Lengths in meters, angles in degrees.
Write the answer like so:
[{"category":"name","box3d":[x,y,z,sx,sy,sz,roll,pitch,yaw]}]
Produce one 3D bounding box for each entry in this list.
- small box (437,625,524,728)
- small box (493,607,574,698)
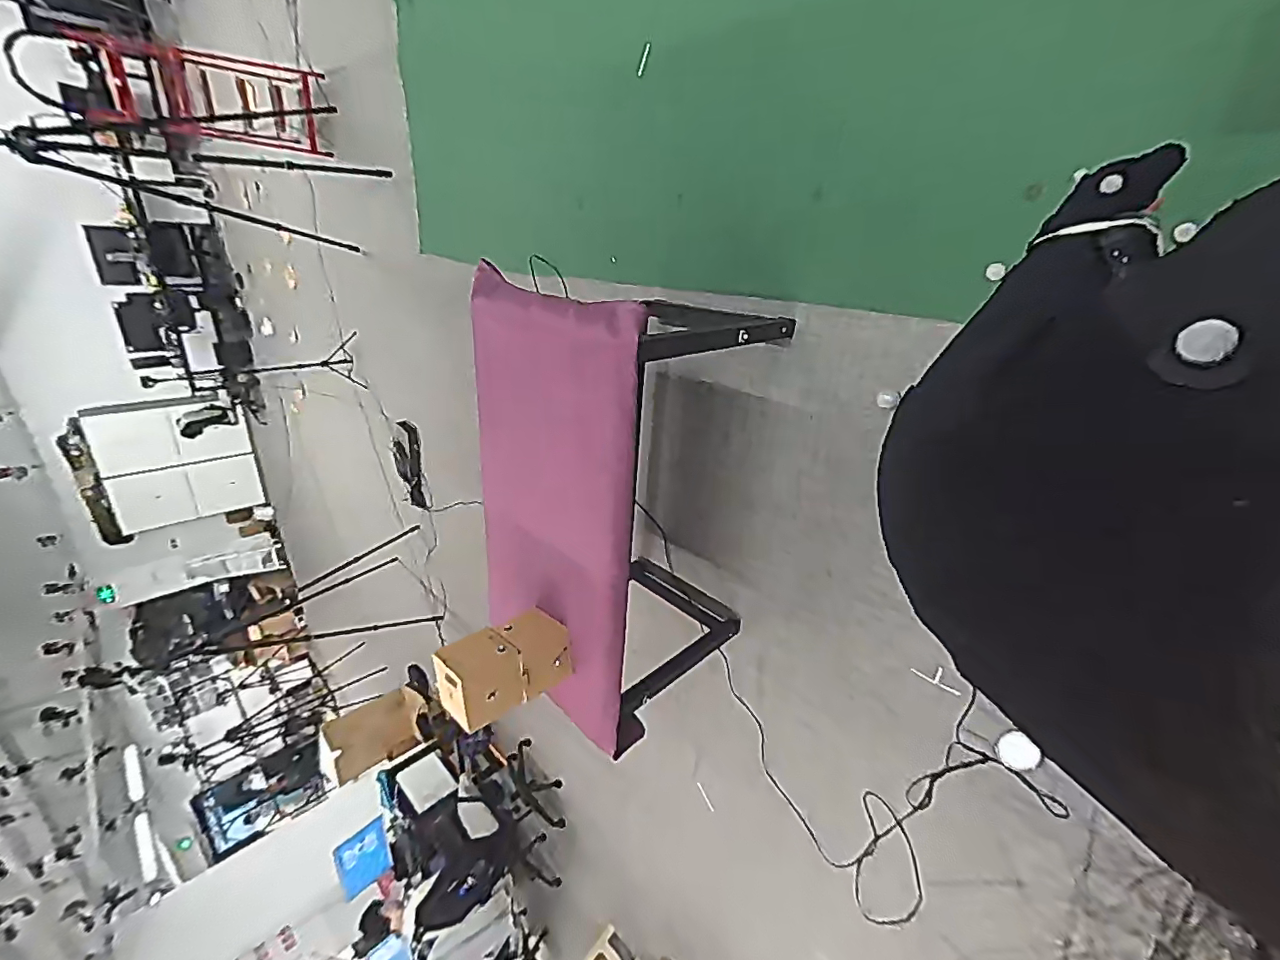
[{"category":"small box","box3d":[-0.435,0.530,1.485,0.168,0.176,0.179,22,119,43]},{"category":"small box","box3d":[-0.312,0.496,1.594,0.179,0.176,0.168,18,118,43]}]
